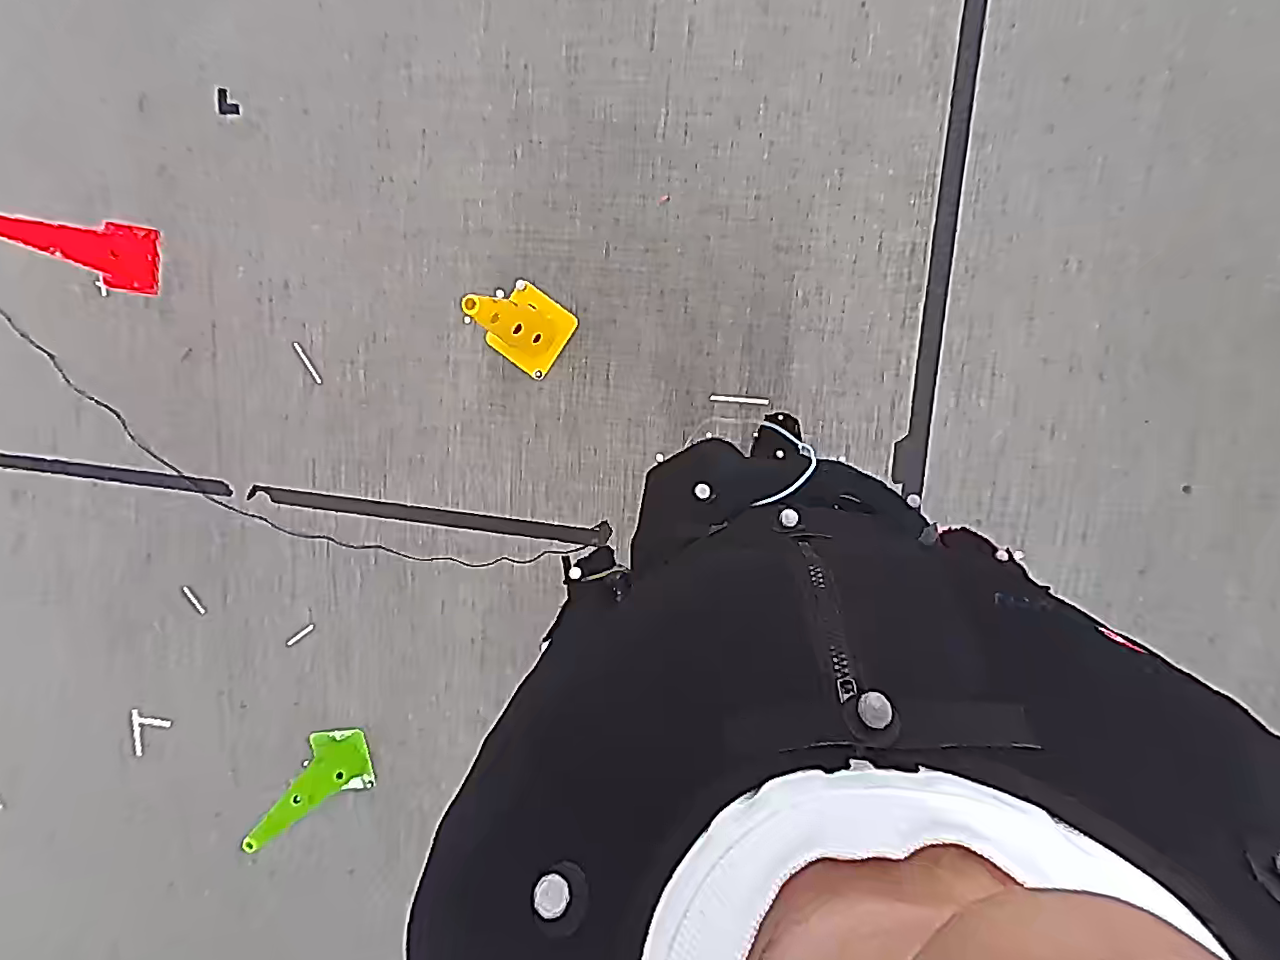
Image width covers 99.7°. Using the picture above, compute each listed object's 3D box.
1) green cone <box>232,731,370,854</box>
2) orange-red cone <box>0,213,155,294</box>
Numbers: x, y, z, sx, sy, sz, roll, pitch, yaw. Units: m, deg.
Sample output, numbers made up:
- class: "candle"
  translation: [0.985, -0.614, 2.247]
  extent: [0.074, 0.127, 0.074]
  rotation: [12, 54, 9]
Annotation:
- class: "green cone"
  translation: [-1.007, 0.927, 1.577]
  extent: [0.202, 0.368, 0.200]
  rotation: [-10, 95, 12]
- class: "orange-red cone"
  translation: [-1.584, -0.656, 1.474]
  extent: [0.199, 0.360, 0.198]
  rotation: [13, 100, 6]
